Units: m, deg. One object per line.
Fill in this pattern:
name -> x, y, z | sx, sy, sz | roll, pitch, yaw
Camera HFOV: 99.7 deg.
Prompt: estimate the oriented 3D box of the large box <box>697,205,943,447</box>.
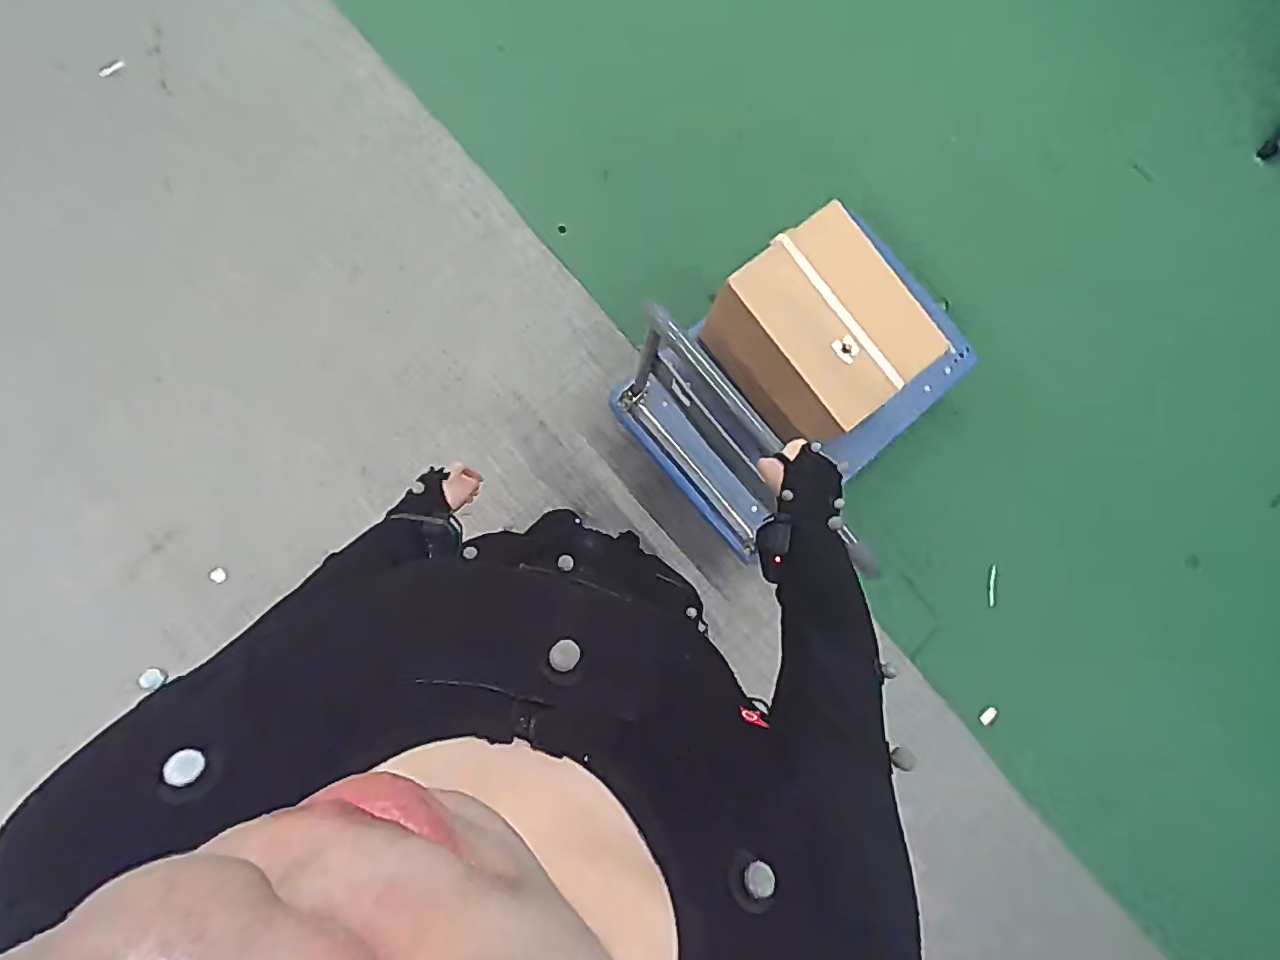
large box -> 0.400, -0.342, 1.295 | 0.320, 0.320, 0.408 | -38, 90, -8
